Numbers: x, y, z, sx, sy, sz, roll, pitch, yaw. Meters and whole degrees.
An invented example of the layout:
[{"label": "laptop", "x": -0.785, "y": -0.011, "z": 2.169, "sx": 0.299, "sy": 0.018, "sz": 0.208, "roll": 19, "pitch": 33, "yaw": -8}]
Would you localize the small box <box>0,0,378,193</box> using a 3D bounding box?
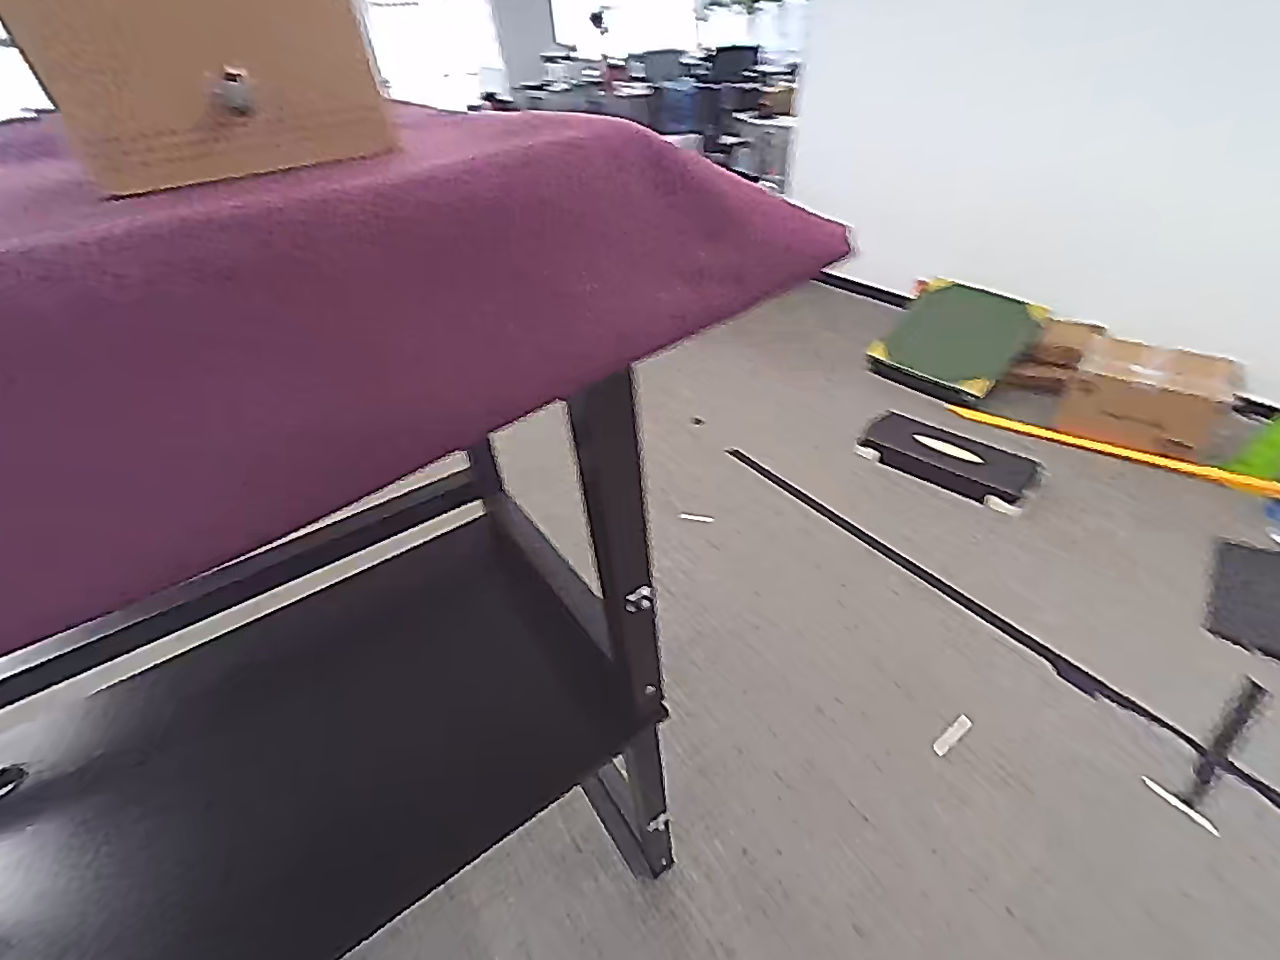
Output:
[{"label": "small box", "x": -0.290, "y": -0.297, "z": 0.341, "sx": 0.179, "sy": 0.176, "sz": 0.168, "roll": -28, "pitch": 43, "yaw": -26}]
